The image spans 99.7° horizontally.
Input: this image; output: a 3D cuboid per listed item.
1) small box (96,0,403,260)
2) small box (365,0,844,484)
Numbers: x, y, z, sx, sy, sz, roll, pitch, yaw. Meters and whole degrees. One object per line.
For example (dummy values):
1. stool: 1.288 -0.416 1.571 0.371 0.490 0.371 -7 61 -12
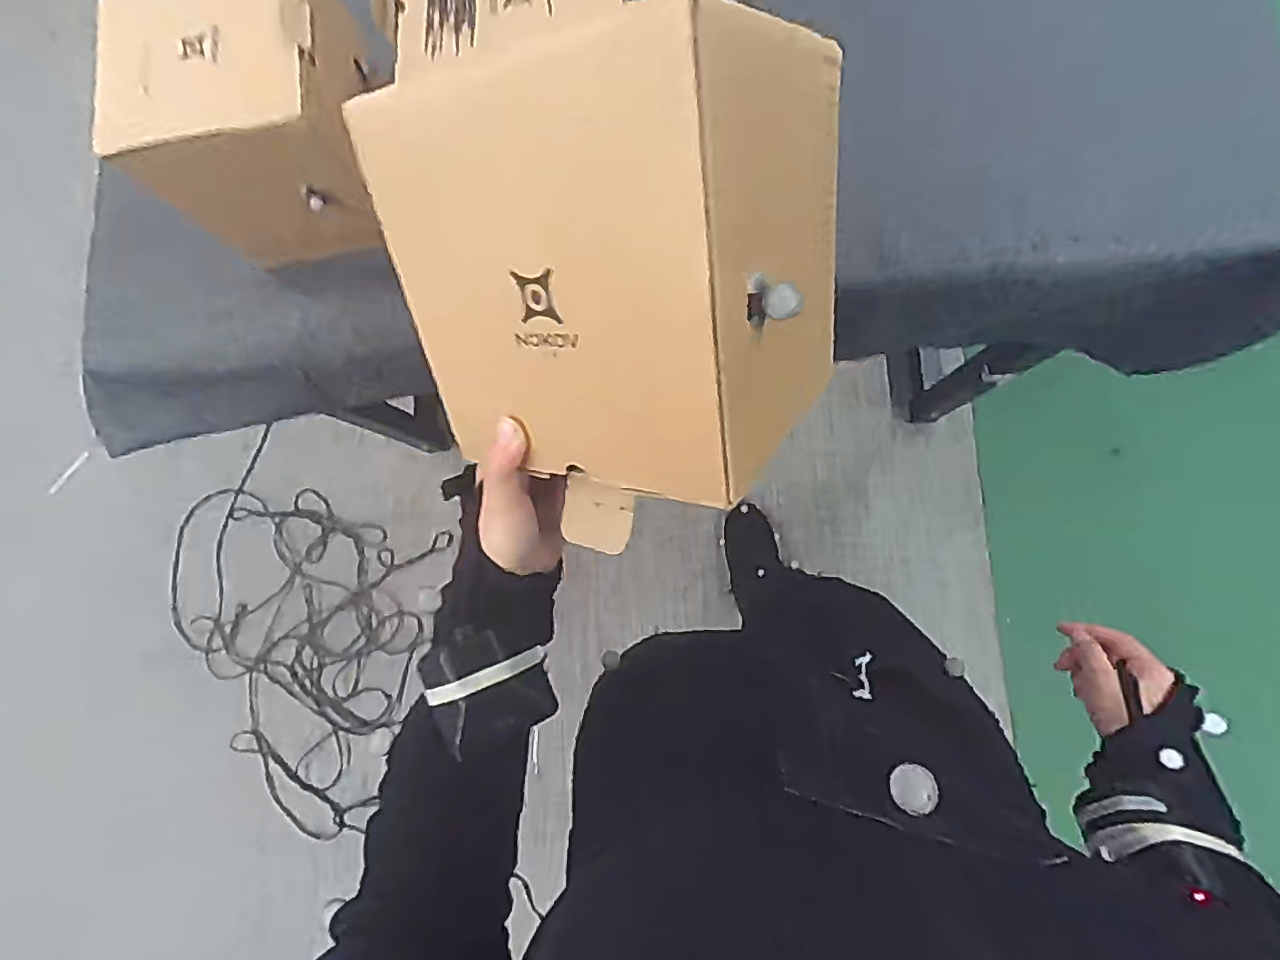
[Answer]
1. small box: -0.335 -0.331 0.501 0.179 0.176 0.168 -8 81 4
2. small box: 0.004 -0.123 0.287 0.168 0.176 0.179 10 125 29
